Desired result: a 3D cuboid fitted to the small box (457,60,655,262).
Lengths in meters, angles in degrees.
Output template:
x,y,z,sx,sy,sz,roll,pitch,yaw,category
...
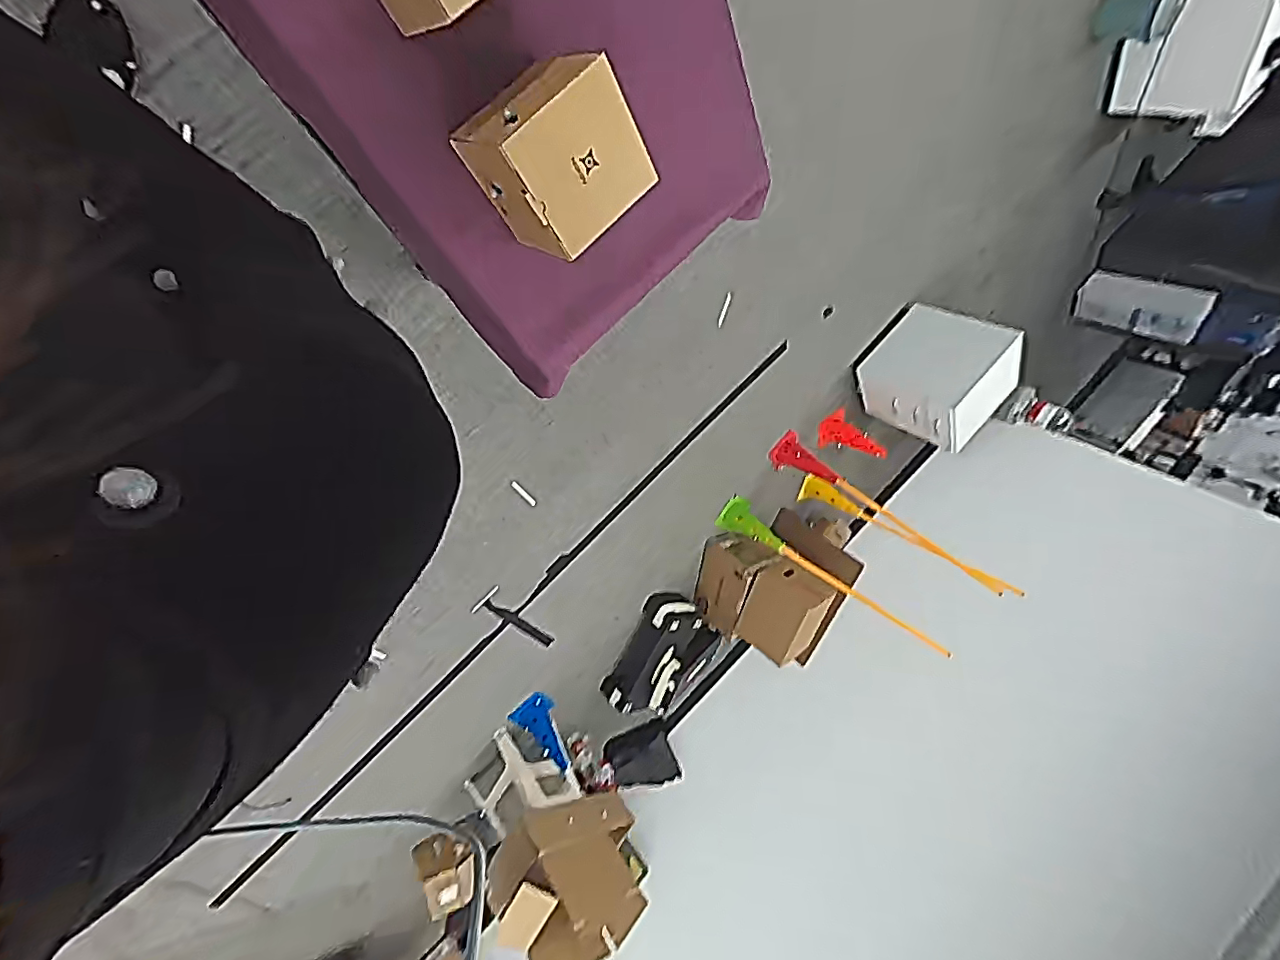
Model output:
x,y,z,sx,sy,sz,roll,pitch,yaw,category
-0.117,-0.440,0.747,0.179,0.176,0.168,-46,138,-6,small box
